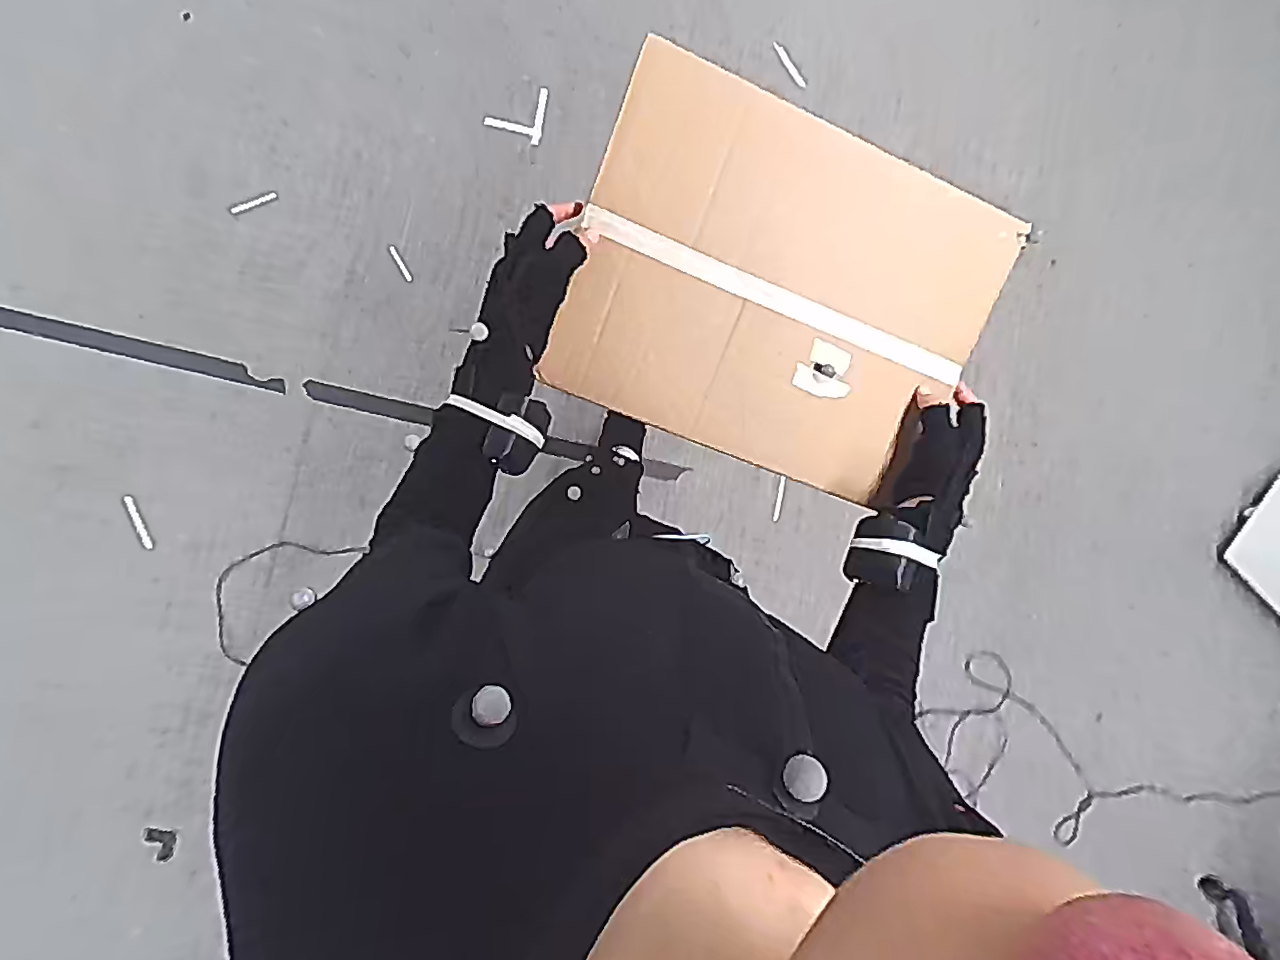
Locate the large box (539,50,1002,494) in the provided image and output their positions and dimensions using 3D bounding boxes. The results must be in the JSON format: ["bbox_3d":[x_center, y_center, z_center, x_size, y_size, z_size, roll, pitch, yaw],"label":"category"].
[{"bbox_3d":[0.118,-0.219,0.686,0.408,0.320,0.320,20,101,-10],"label":"large box"}]
